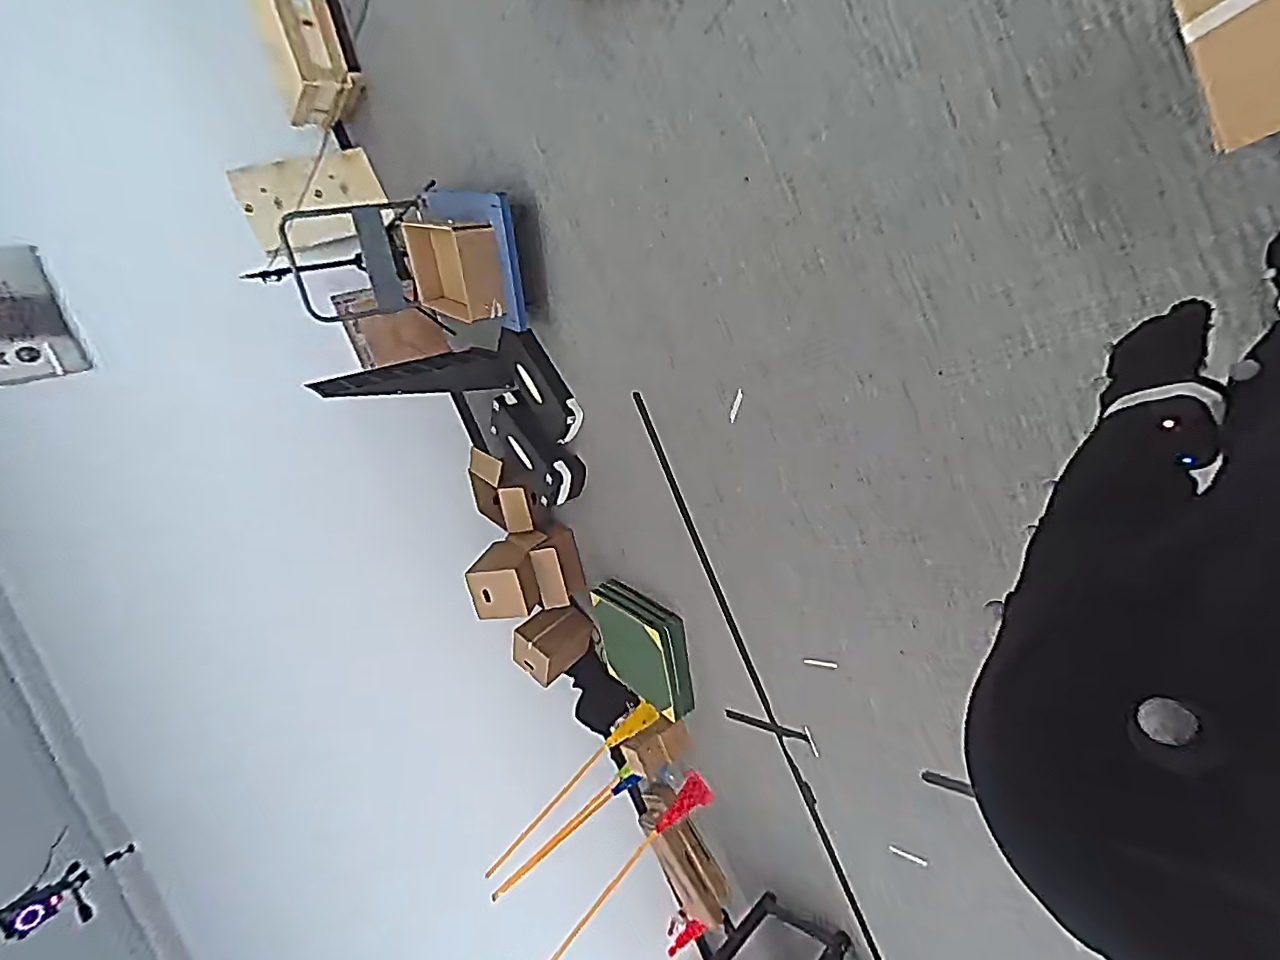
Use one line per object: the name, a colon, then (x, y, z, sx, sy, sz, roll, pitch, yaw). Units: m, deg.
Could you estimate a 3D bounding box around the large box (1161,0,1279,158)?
large box: (0.897, -0.632, 0.601, 0.408, 0.320, 0.320, -16, 99, 57)
